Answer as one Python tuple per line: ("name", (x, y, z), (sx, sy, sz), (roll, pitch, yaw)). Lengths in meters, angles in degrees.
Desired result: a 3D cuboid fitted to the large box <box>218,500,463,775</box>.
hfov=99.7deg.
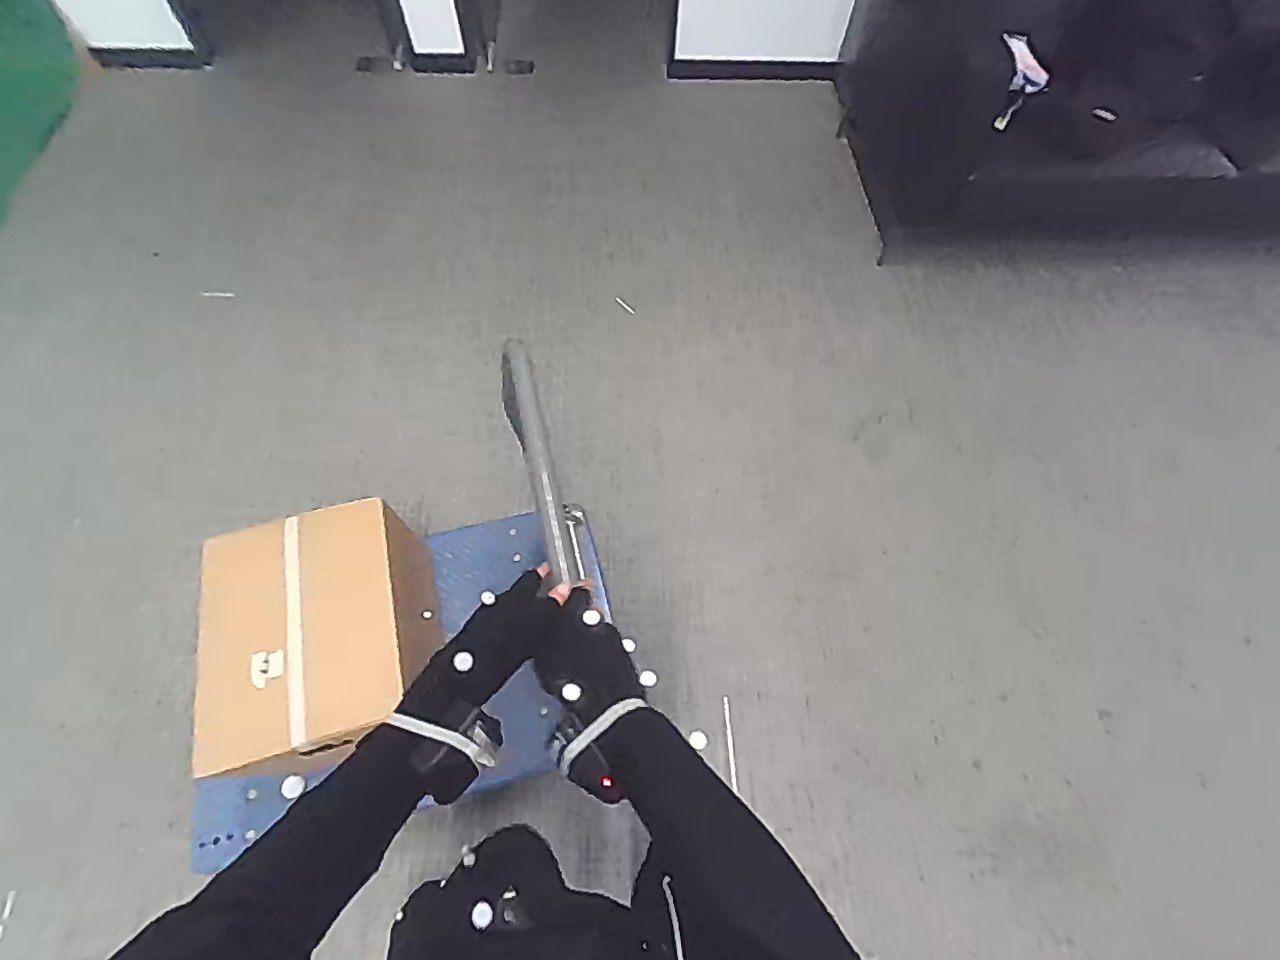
("large box", (-0.568, 0.310, 1.065), (0.320, 0.320, 0.408), (-16, 65, -10))
